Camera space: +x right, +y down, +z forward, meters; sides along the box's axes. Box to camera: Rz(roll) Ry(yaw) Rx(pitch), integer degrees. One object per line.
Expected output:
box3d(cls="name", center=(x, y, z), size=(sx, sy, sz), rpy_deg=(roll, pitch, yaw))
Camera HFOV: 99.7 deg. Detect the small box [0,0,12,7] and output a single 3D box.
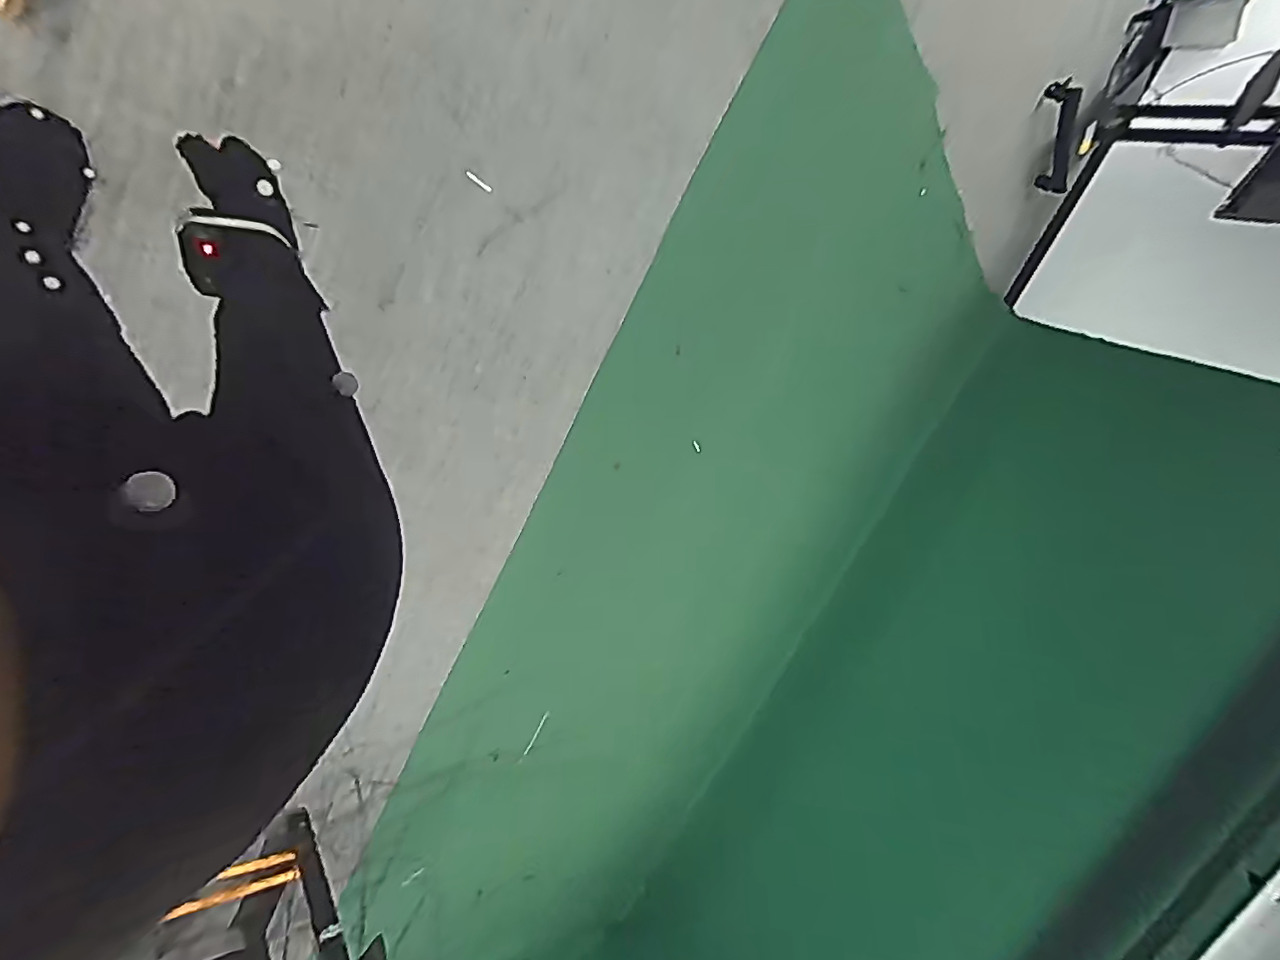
box3d(cls="small box", center=(-0.905, -0.754, 0.685), size=(0.168, 0.176, 0.179), rpy_deg=(20, 102, -50))
